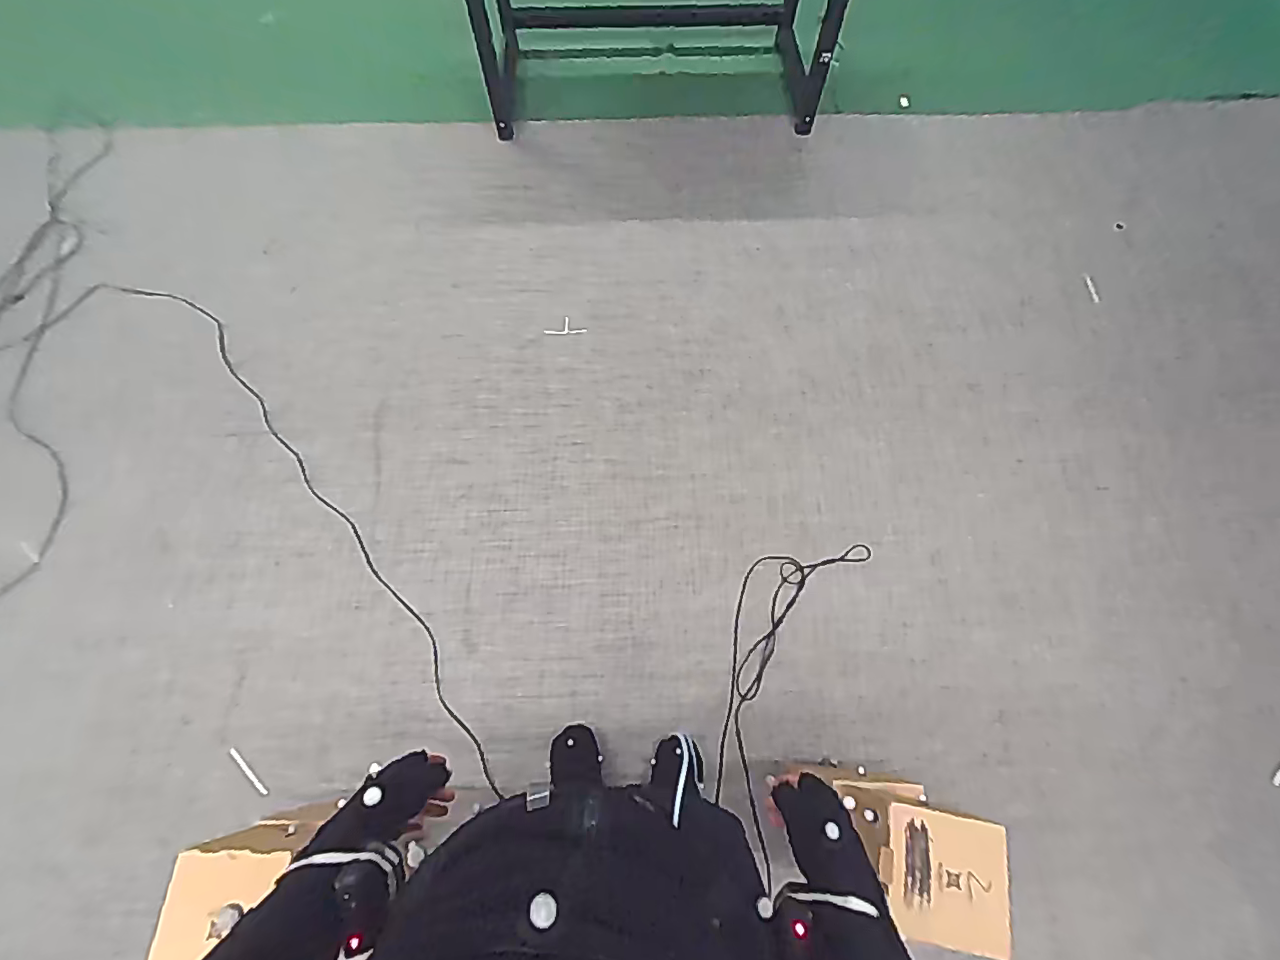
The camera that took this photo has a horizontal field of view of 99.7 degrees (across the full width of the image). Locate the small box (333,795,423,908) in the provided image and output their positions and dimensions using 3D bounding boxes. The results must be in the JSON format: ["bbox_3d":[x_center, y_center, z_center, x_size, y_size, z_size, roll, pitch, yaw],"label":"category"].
[{"bbox_3d":[-0.571,0.759,1.120,0.179,0.176,0.168,0,67,0],"label":"small box"}]

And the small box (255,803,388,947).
[{"bbox_3d":[-0.577,0.696,0.968,0.168,0.176,0.179,1,67,0],"label":"small box"}]

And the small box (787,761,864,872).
[{"bbox_3d":[0.414,0.706,1.140,0.168,0.176,0.179,4,68,1],"label":"small box"}]

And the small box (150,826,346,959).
[{"bbox_3d":[-0.576,0.642,0.814,0.168,0.176,0.179,0,67,0],"label":"small box"}]

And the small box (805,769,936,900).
[{"bbox_3d":[0.414,0.646,1.006,0.168,0.176,0.179,2,68,0],"label":"small box"}]
